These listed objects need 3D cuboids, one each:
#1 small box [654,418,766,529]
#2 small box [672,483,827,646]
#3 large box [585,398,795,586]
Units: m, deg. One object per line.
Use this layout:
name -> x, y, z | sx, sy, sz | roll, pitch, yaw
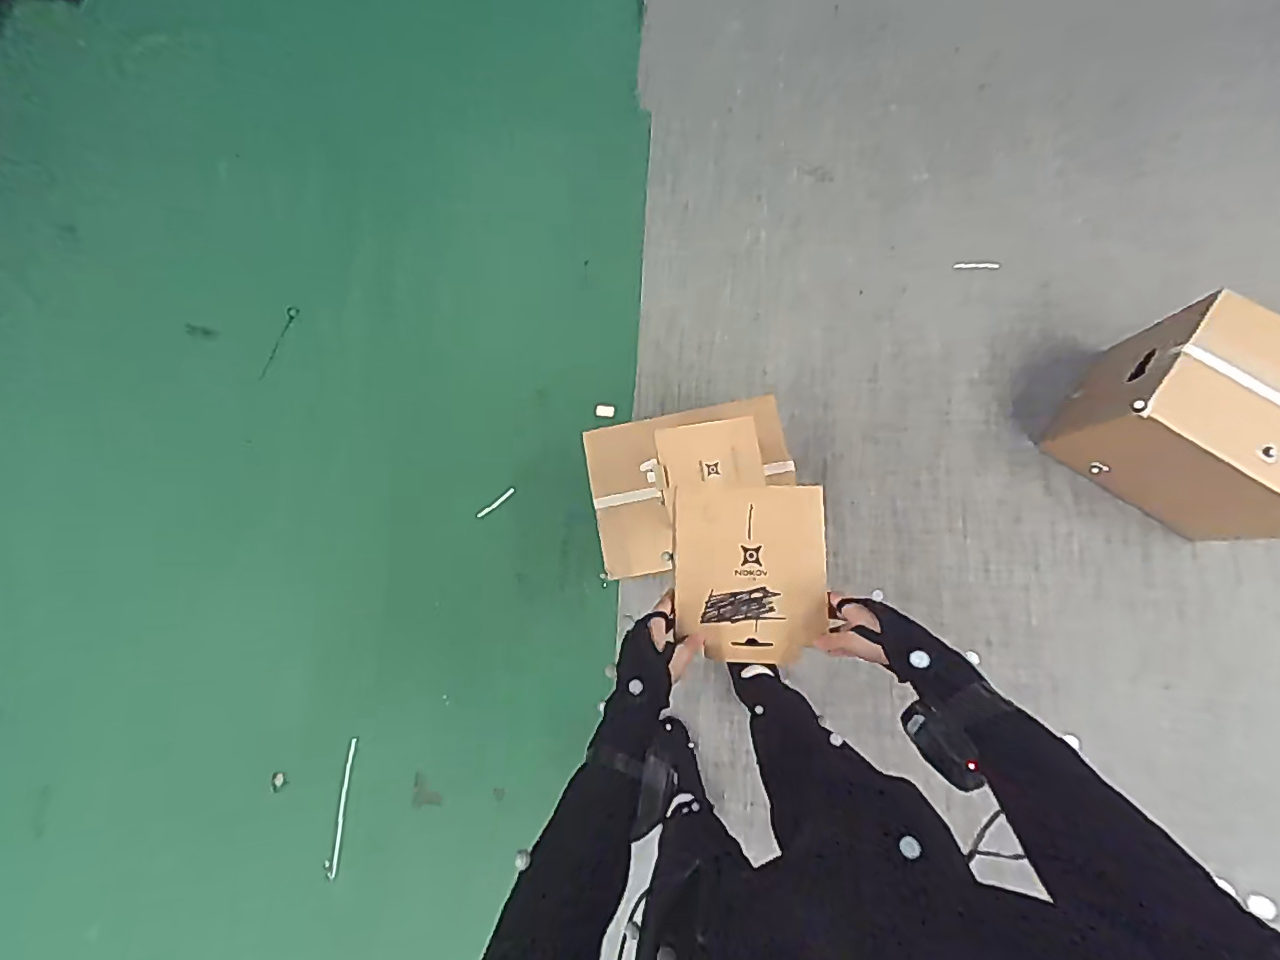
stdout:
small box -> 0.128, -0.002, 0.983 | 0.179, 0.176, 0.168 | -8, 82, 4
small box -> 0.125, 0.103, 0.669 | 0.168, 0.176, 0.179 | 0, 80, 3
large box -> 0.125, 0.044, 1.227 | 0.408, 0.320, 0.320 | -12, 79, 5
